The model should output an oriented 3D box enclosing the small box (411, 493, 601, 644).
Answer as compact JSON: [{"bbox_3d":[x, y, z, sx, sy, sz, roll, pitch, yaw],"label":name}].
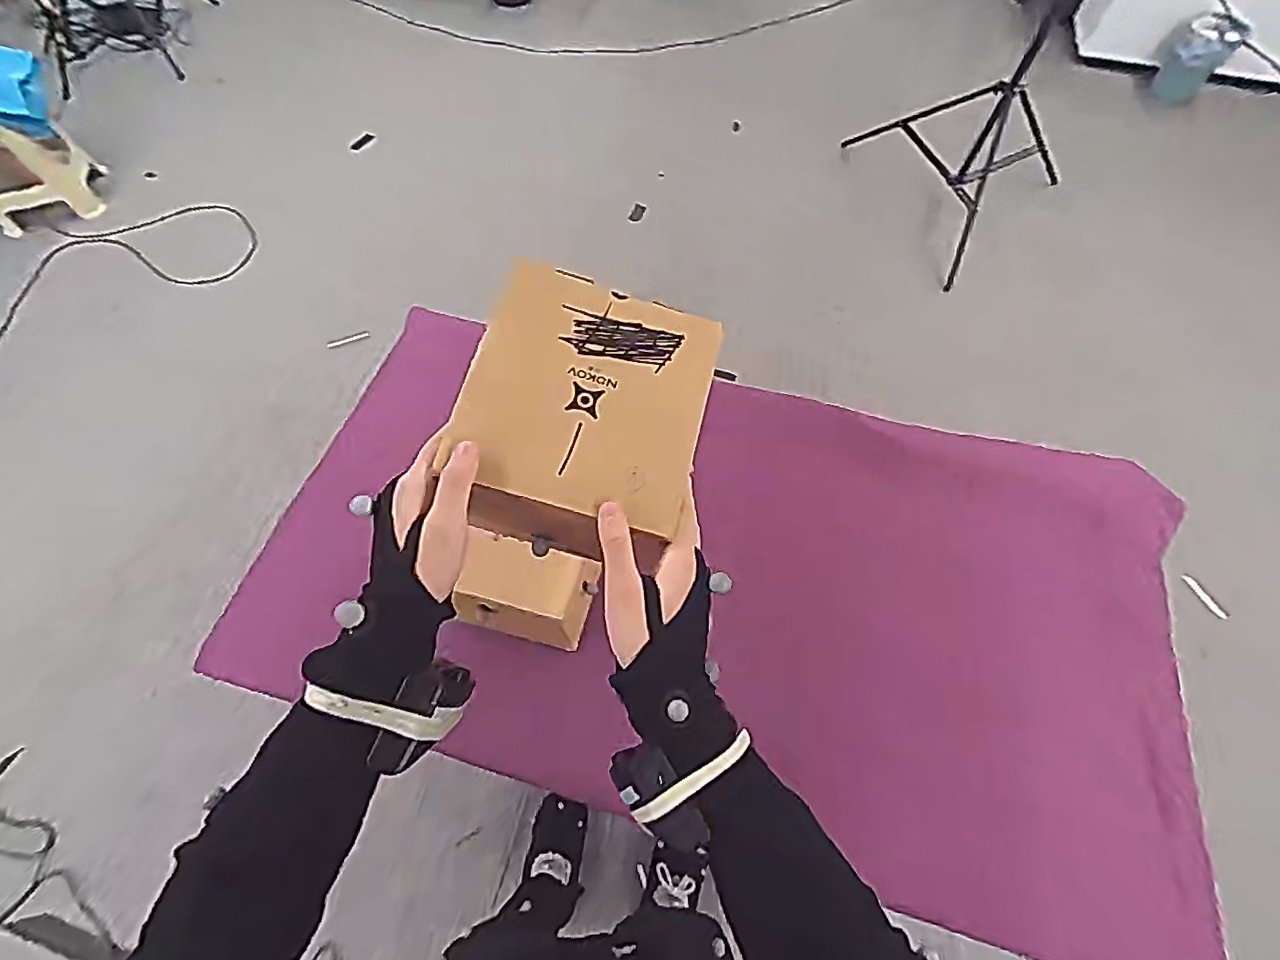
[{"bbox_3d":[-0.142,0.094,0.674,0.179,0.176,0.168,13,63,7],"label":"small box"}]

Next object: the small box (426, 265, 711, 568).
[{"bbox_3d":[-0.056,-0.037,0.457,0.168,0.176,0.179,16,72,-5],"label":"small box"}]
